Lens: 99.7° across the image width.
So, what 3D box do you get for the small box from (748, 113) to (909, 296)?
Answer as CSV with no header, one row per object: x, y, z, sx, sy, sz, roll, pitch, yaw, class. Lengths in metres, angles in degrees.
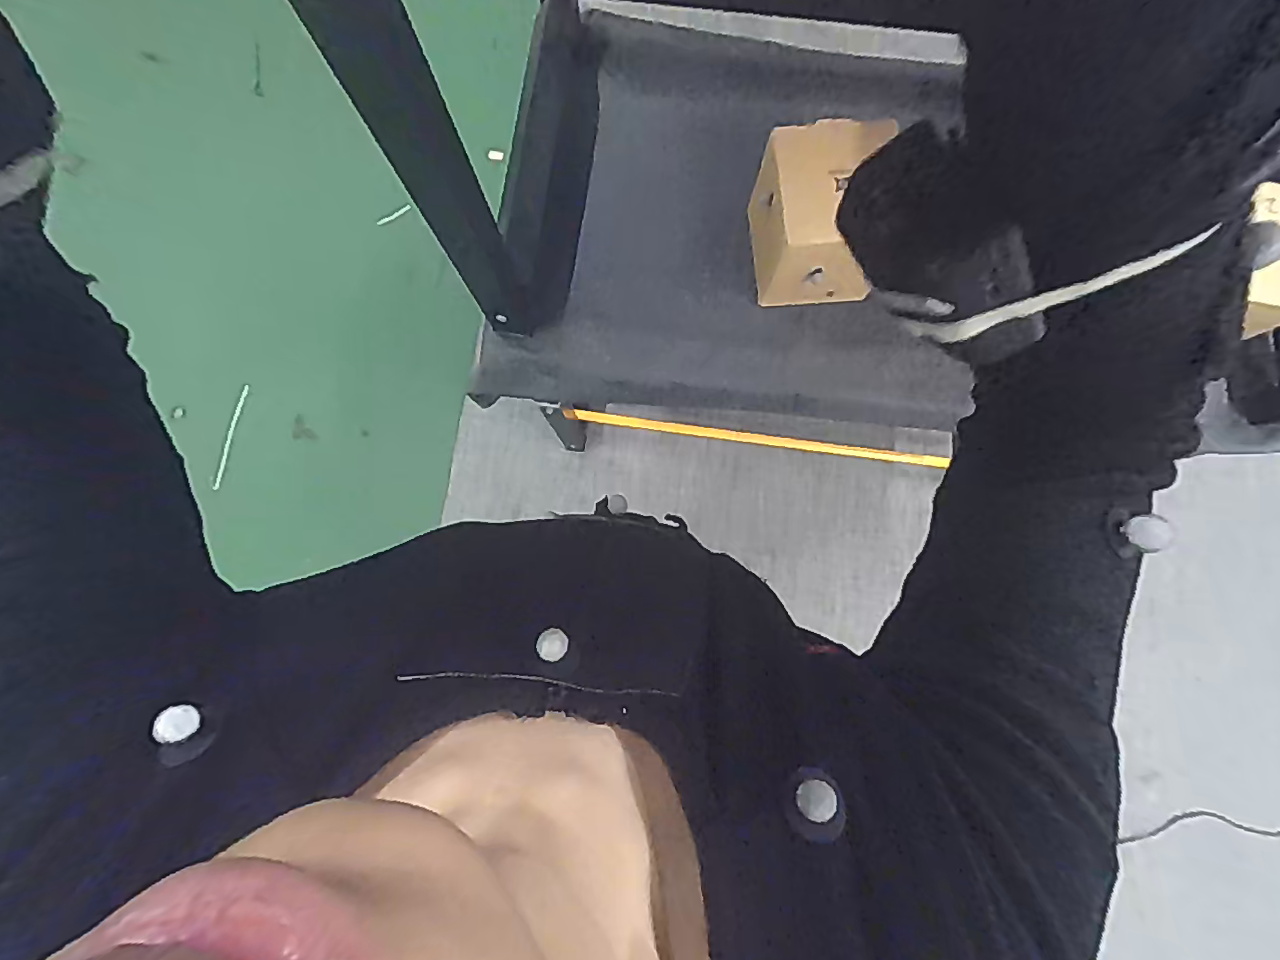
0.257,-0.379,0.775,0.168,0.176,0.179,-4,80,0,small box
